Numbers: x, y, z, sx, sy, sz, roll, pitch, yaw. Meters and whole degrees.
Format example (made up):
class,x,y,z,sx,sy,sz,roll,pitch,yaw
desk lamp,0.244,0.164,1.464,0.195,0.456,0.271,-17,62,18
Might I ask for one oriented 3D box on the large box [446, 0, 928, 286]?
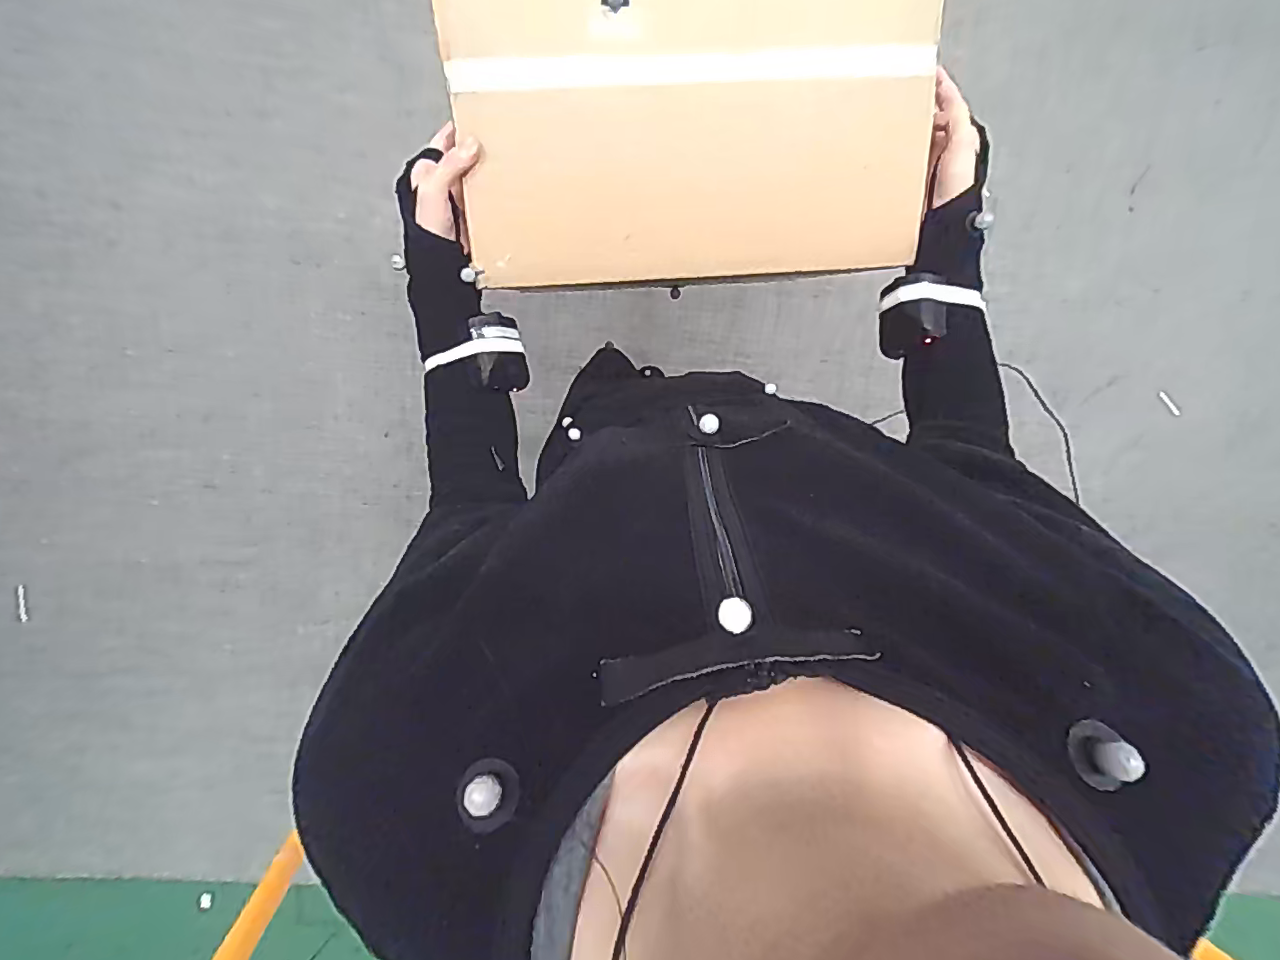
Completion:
class,x,y,z,sx,sy,sz,roll,pitch,yaw
large box,0.037,-0.391,0.598,0.408,0.320,0.320,-4,108,-3
